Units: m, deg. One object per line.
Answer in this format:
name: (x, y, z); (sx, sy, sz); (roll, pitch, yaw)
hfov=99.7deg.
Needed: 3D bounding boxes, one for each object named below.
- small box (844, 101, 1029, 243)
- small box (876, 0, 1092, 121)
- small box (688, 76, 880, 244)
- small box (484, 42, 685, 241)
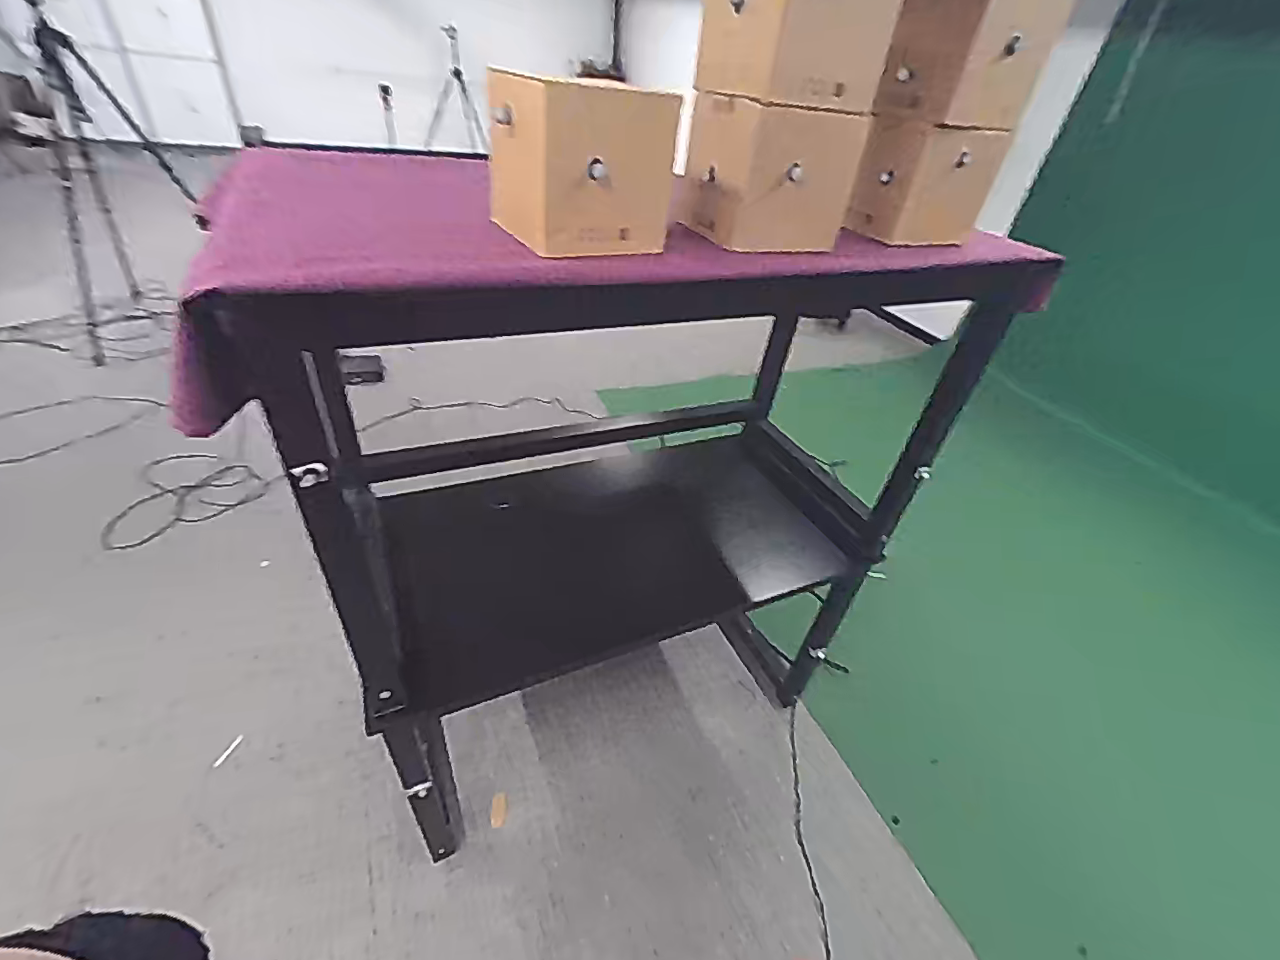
small box: (0.451, -0.487, 0.861); (0.179, 0.176, 0.168); (-8, 42, -20)
small box: (0.470, -0.612, 0.757); (0.179, 0.176, 0.168); (-14, 44, -24)
small box: (0.177, -0.428, 0.731); (0.179, 0.176, 0.168); (-10, 43, -21)
small box: (-0.071, -0.386, 0.627); (0.168, 0.176, 0.179); (-14, 43, -27)
